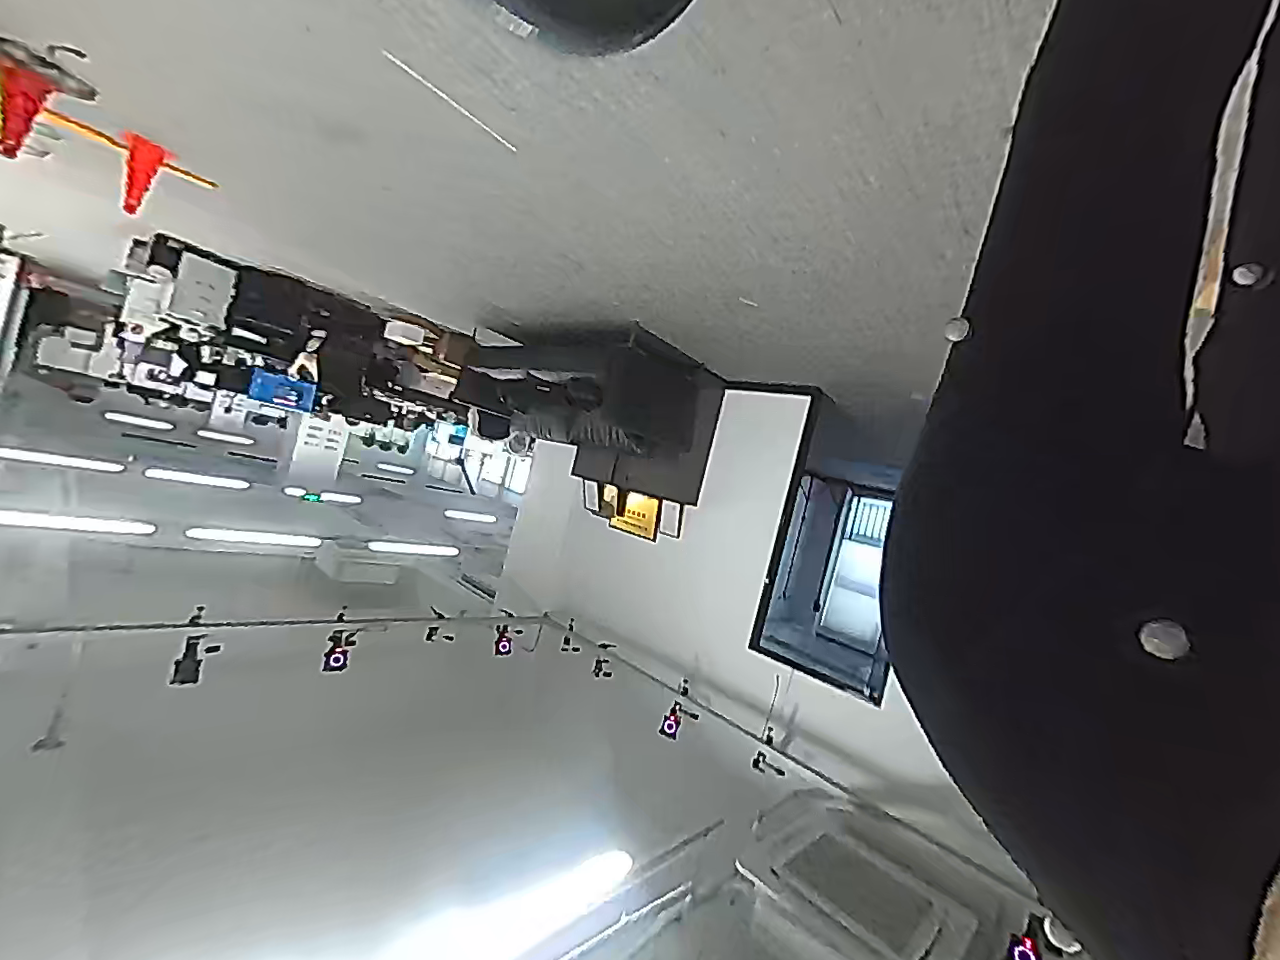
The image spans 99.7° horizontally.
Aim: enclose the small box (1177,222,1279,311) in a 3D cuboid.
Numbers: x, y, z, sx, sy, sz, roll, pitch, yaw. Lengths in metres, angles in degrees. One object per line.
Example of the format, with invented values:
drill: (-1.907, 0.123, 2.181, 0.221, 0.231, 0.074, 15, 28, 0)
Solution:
small box: (1.568, -0.562, 1.426, 0.168, 0.176, 0.179, 15, 180, 36)
